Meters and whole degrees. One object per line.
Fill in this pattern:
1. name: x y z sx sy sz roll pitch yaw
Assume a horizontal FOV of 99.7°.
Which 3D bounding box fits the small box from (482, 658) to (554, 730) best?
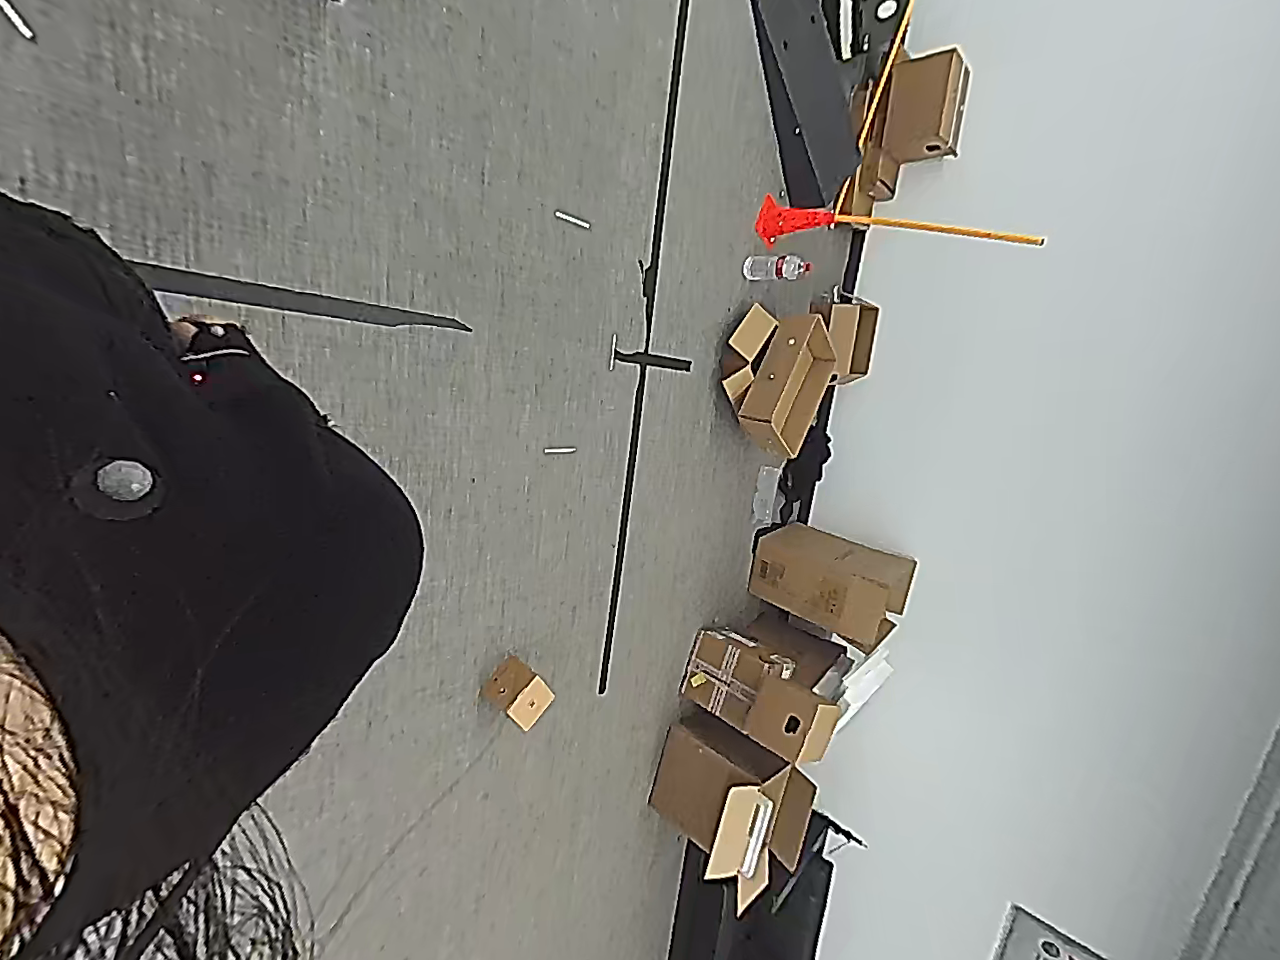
1. small box: -0.468 0.810 2.065 0.168 0.176 0.179 -47 136 -27
